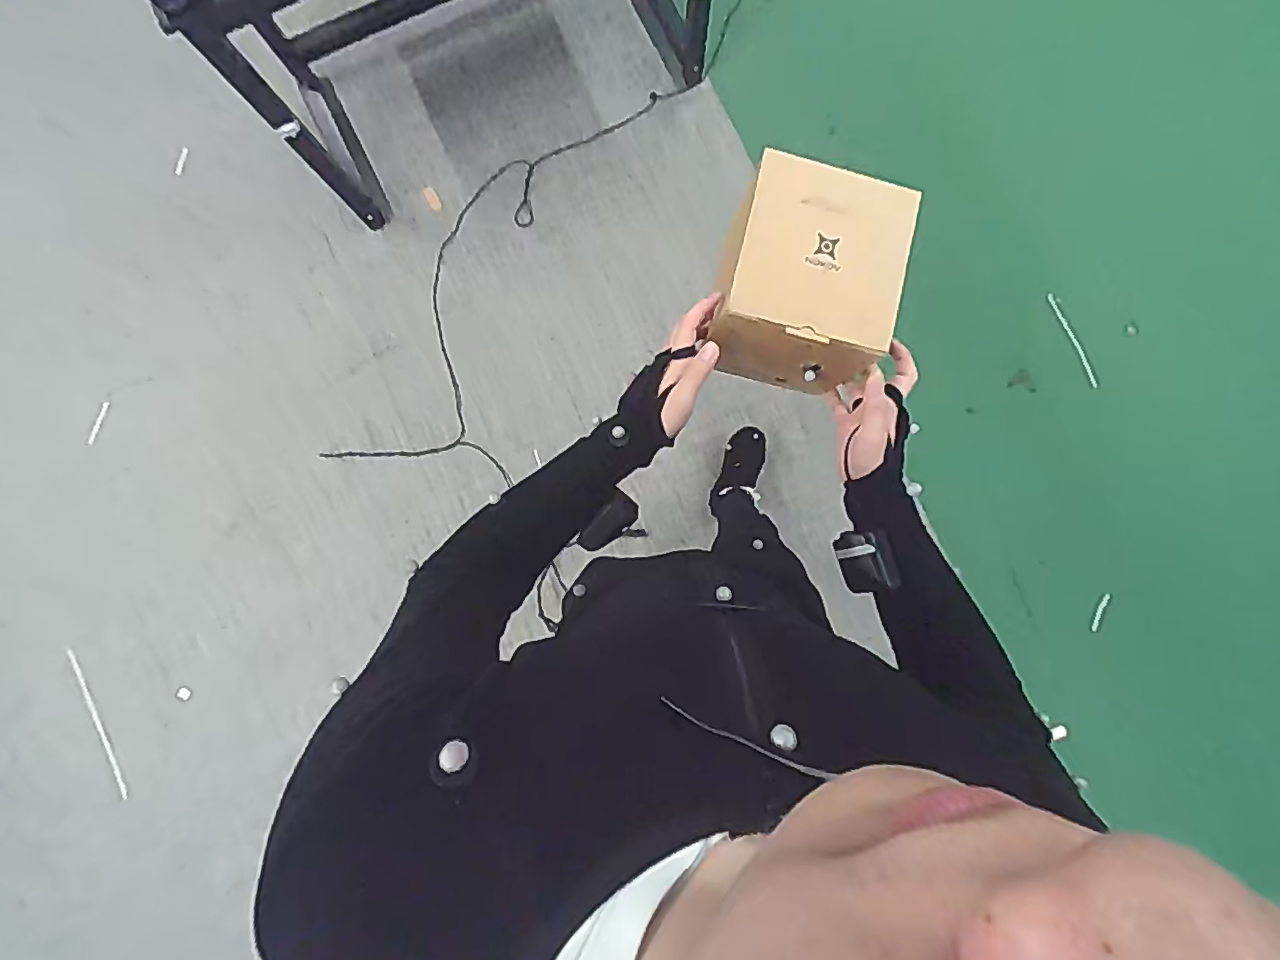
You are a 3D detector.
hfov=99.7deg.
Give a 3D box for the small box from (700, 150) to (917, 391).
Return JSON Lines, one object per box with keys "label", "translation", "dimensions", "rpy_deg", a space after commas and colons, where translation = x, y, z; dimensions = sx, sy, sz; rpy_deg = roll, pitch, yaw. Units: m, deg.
{"label": "small box", "translation": [0.172, -0.215, 0.606], "dimensions": [0.168, 0.176, 0.179], "rpy_deg": [14, 83, -3]}
